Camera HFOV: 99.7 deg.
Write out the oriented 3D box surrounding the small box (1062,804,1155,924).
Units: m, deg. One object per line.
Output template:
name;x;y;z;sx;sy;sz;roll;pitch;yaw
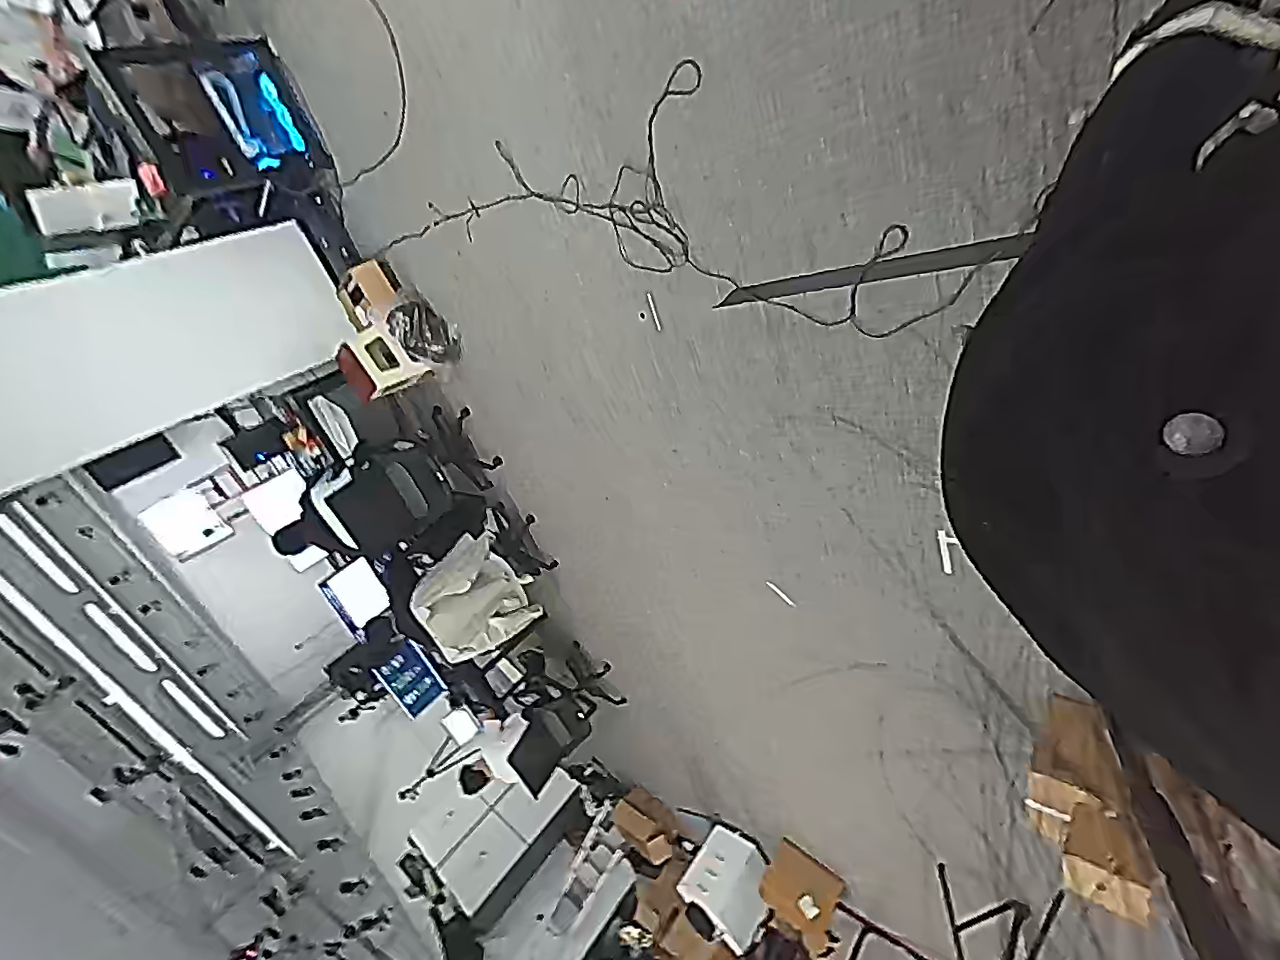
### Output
small box;1.269;1.028;1.465;0.179;0.176;0.168;6;124;47
